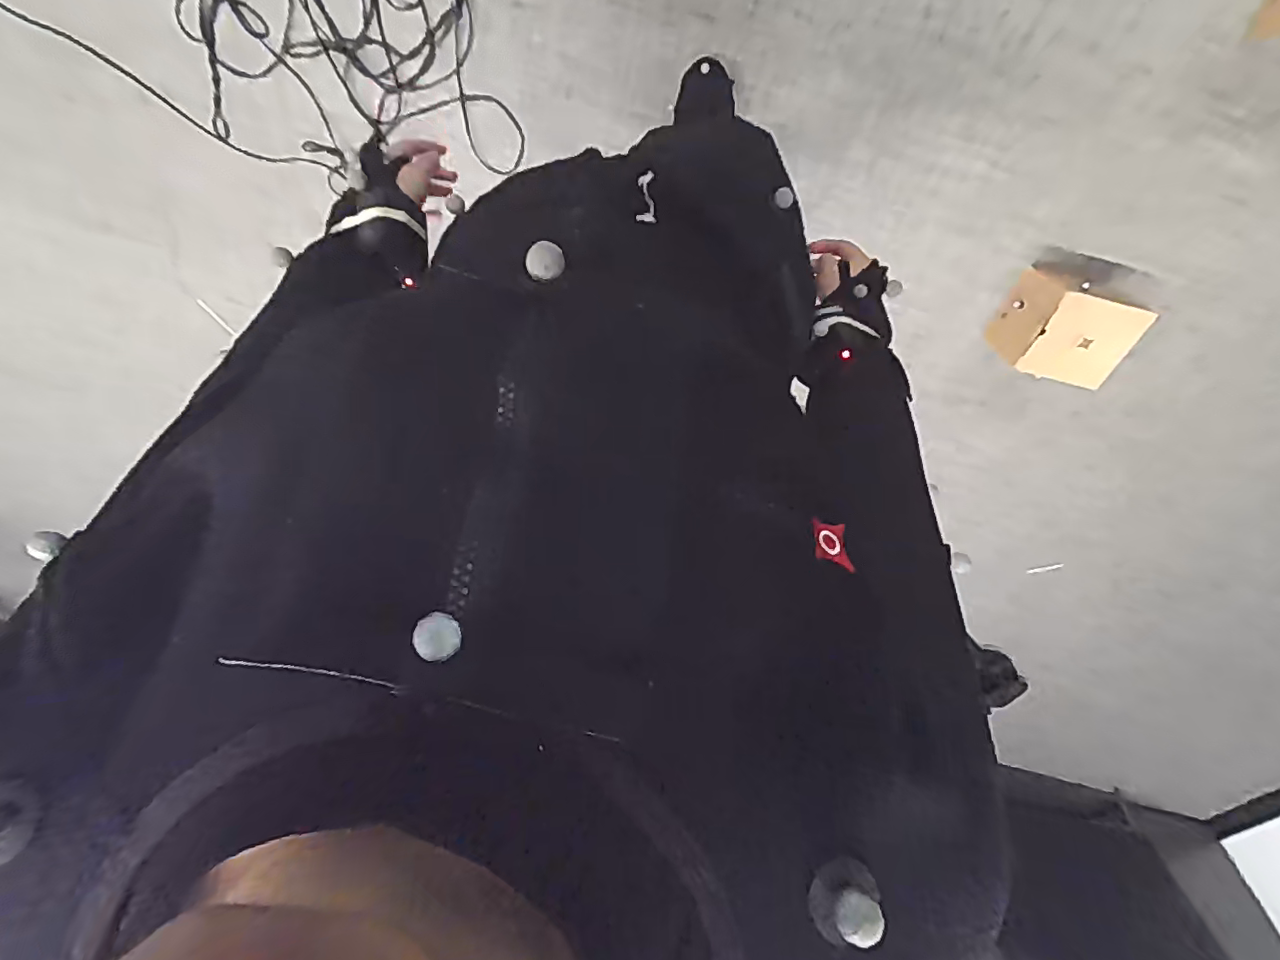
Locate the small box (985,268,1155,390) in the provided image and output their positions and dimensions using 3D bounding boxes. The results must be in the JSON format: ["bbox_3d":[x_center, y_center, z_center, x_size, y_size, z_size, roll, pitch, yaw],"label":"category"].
[{"bbox_3d":[0.853,-0.310,1.095,0.179,0.176,0.168,14,128,-1],"label":"small box"}]
